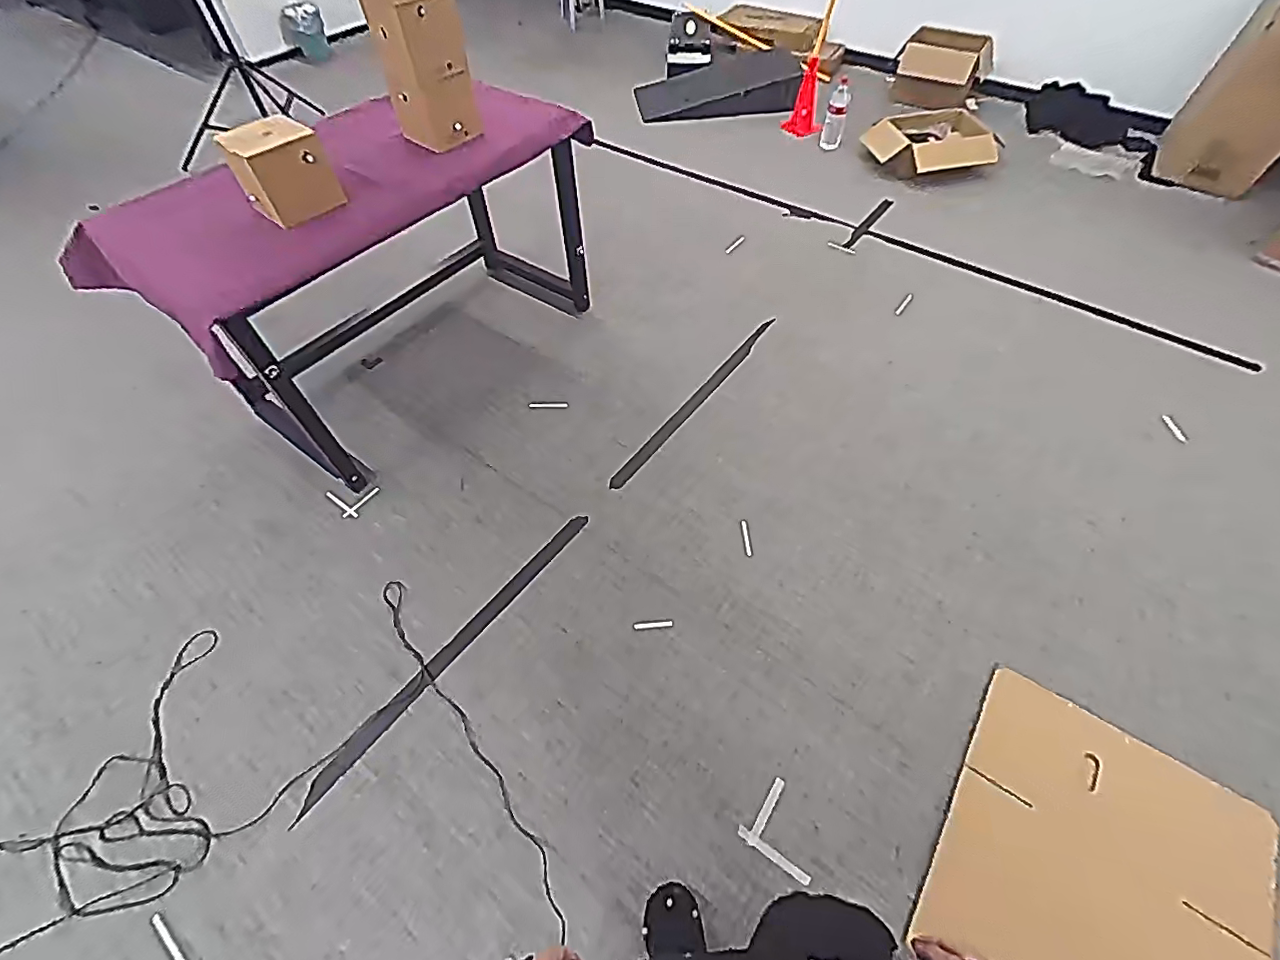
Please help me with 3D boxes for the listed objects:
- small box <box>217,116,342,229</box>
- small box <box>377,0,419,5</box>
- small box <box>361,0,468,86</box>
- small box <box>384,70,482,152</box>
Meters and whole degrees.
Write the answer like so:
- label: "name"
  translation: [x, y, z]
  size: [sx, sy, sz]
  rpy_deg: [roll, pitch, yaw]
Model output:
- label: "small box"
  translation: [-0.872, -0.754, 1.332]
  size: [0.168, 0.176, 0.179]
  rpy_deg: [34, 63, 23]
- label: "small box"
  translation: [-0.581, -1.250, 1.272]
  size: [0.179, 0.176, 0.168]
  rpy_deg: [36, 64, 23]
- label: "small box"
  translation: [-0.583, -1.160, 1.409]
  size: [0.179, 0.176, 0.168]
  rpy_deg: [36, 64, 24]
- label: "small box"
  translation: [-0.584, -1.069, 1.545]
  size: [0.179, 0.176, 0.168]
  rpy_deg: [34, 63, 22]
